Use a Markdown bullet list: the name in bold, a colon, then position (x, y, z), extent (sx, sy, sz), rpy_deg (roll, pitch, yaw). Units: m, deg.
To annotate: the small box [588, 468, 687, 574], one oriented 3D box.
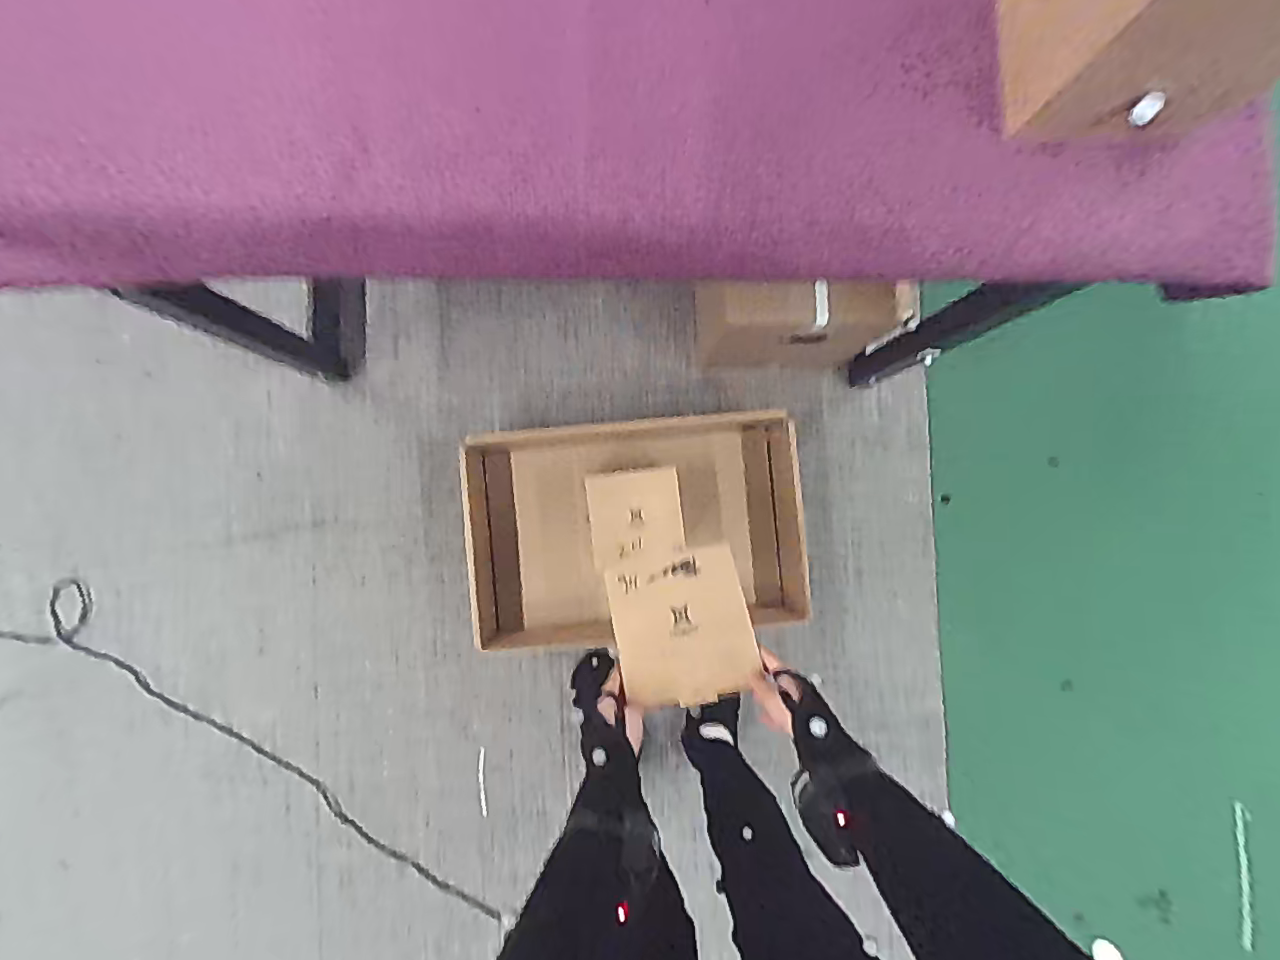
- **small box**: position (-0.009, 0.076, 1.038), extent (0.168, 0.176, 0.179), rpy_deg (-6, 88, -2)
